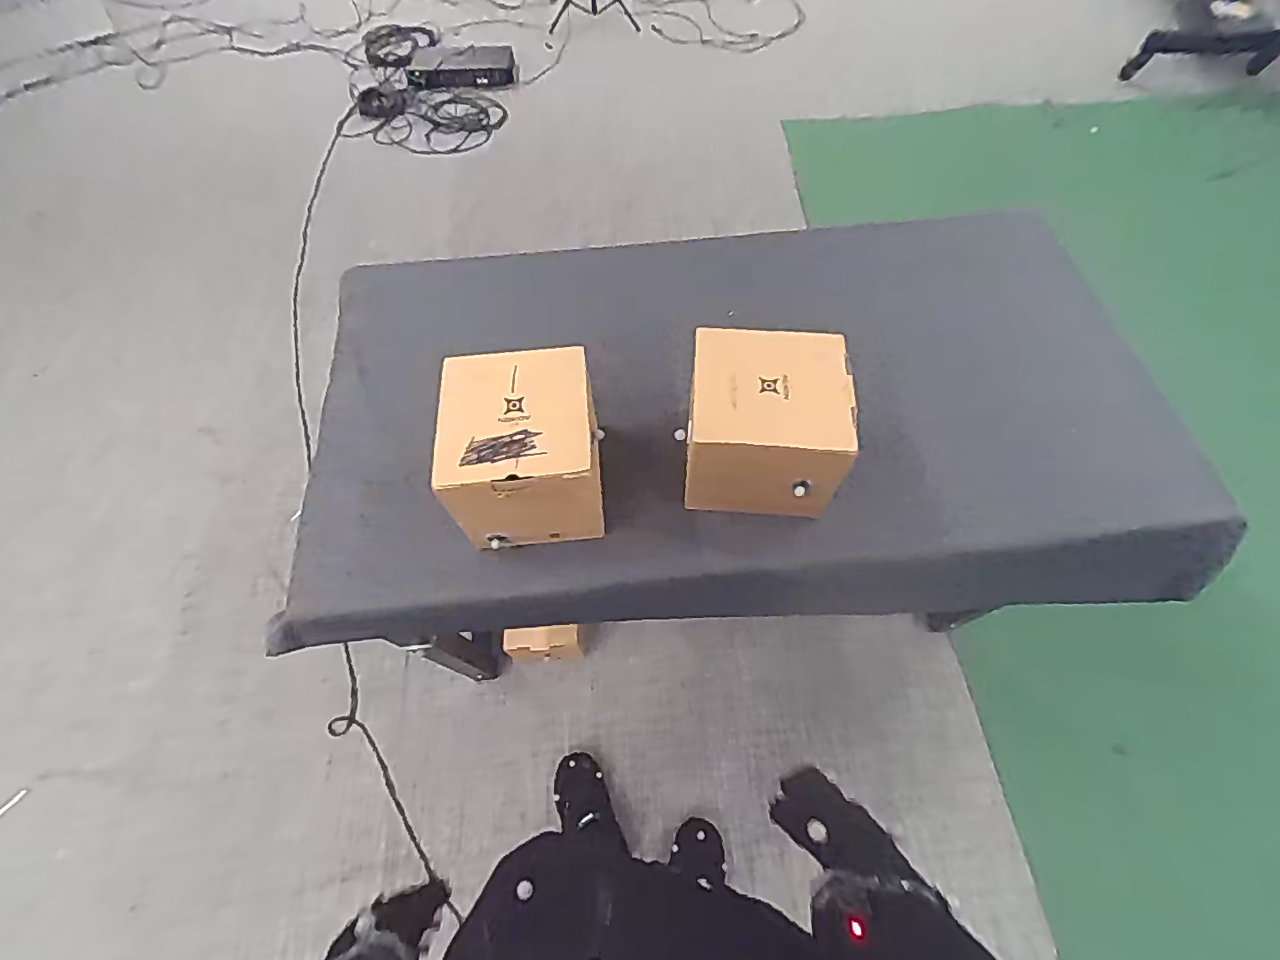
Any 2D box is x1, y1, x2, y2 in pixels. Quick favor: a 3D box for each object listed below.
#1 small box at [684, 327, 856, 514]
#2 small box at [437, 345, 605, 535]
[{"bbox_3d":[0.151,-0.067,0.680,0.179,0.176,0.168,5,63,4],"label":"small box"},{"bbox_3d":[-0.134,-0.039,0.667,0.168,0.176,0.179,-4,61,-2],"label":"small box"}]
